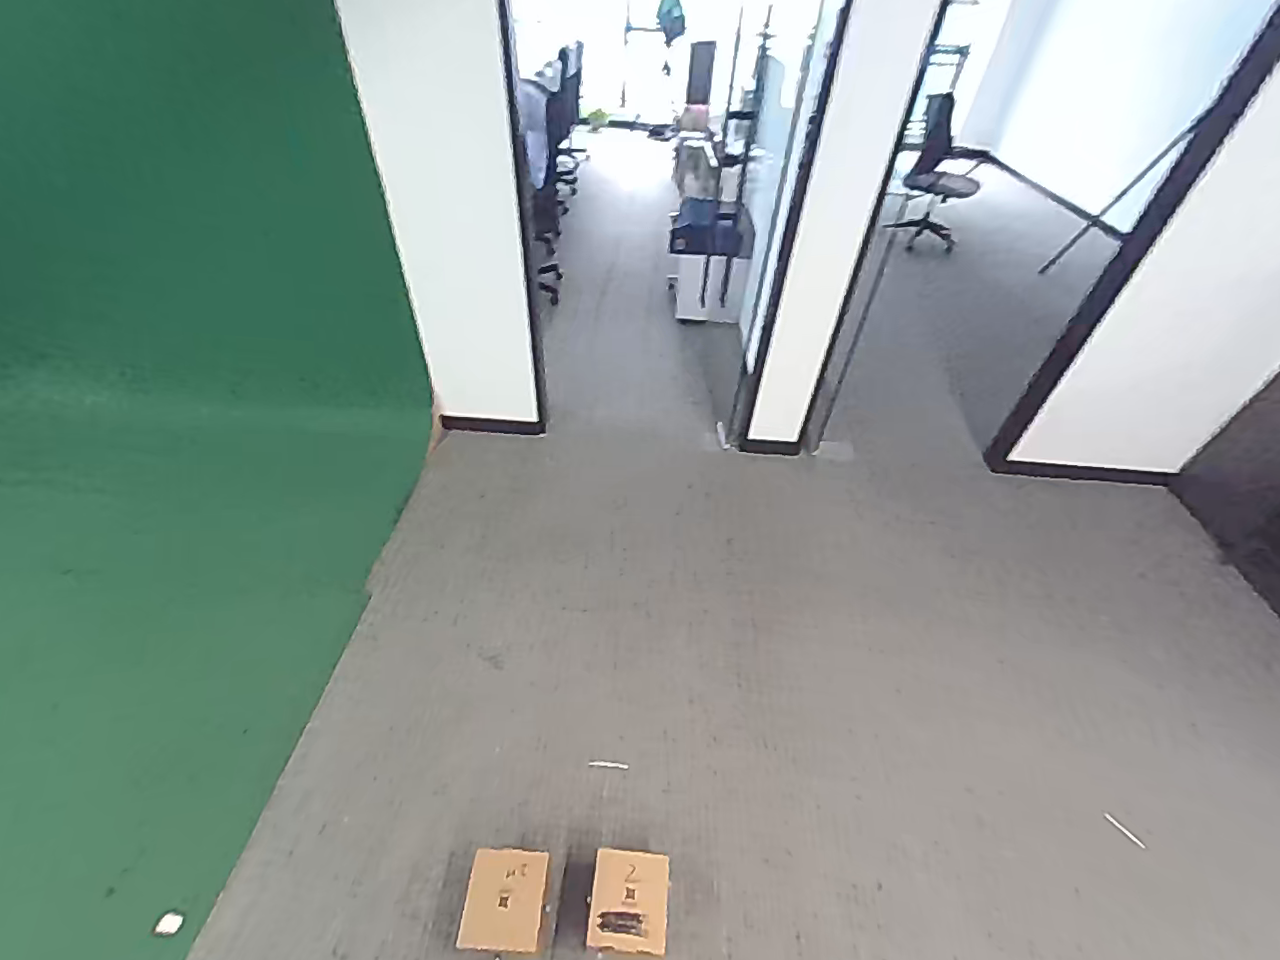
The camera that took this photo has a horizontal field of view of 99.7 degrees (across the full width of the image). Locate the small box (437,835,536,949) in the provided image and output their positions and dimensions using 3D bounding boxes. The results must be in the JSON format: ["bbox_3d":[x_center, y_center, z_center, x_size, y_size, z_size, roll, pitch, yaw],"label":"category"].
[{"bbox_3d":[-0.332,0.927,1.212,0.168,0.176,0.179,6,44,-1],"label":"small box"}]
